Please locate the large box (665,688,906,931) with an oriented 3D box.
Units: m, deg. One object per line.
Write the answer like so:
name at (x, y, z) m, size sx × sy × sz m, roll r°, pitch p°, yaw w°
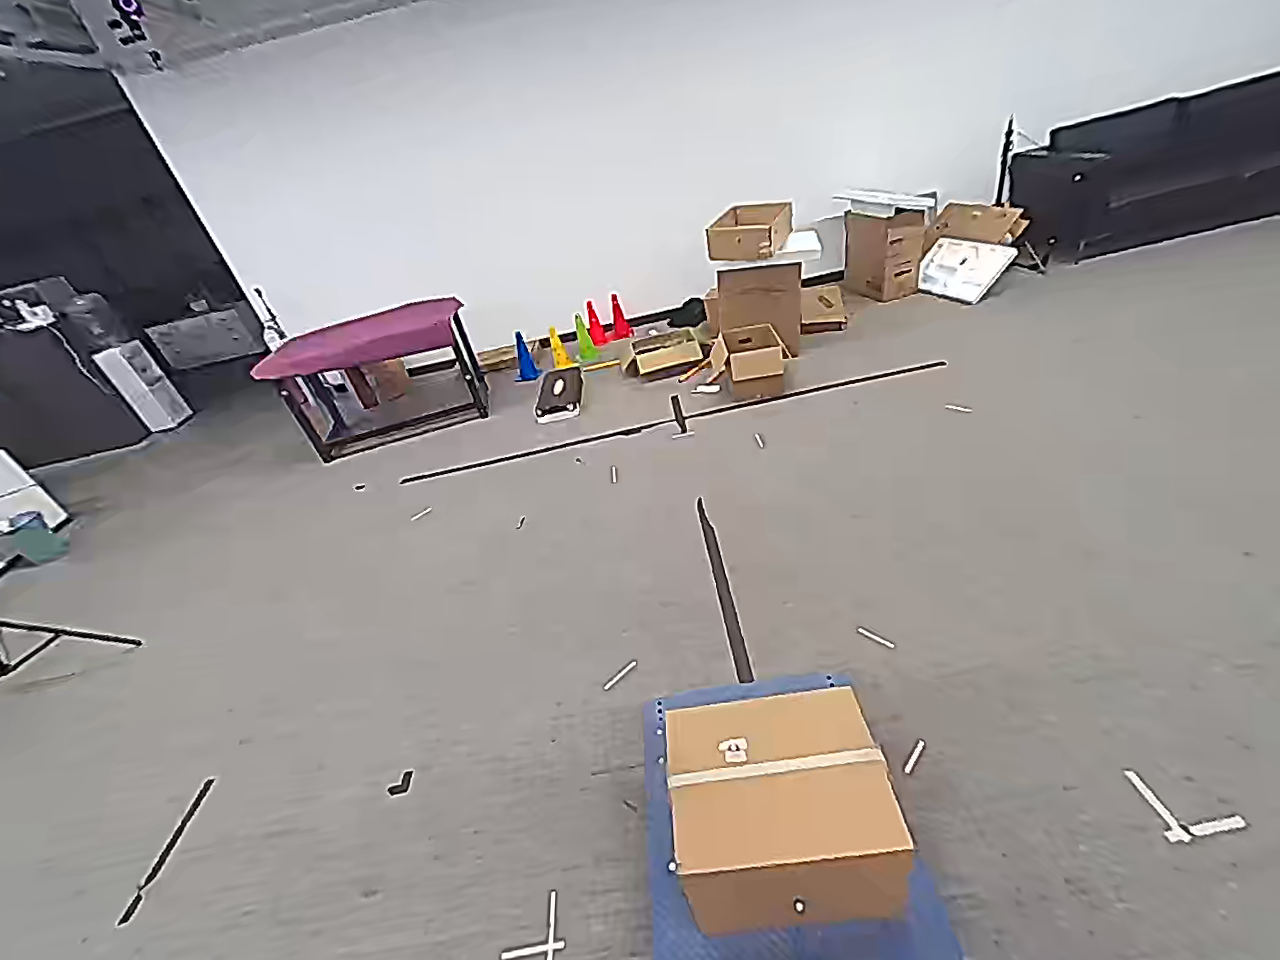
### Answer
large box at (0.288, 0.691, 1.140) m, size 0.408 × 0.320 × 0.320 m, roll -11°, pitch 33°, yaw 5°
